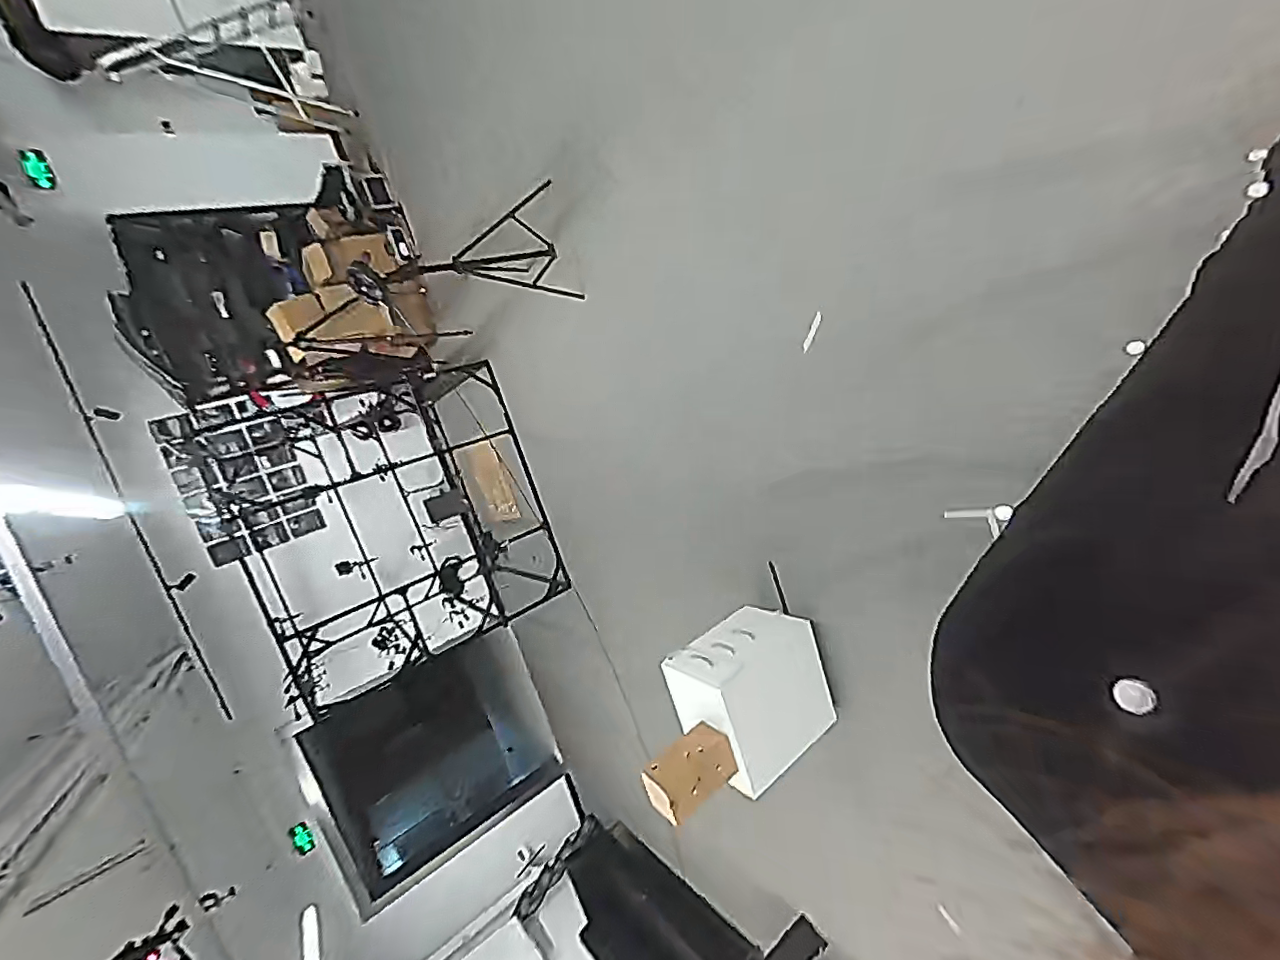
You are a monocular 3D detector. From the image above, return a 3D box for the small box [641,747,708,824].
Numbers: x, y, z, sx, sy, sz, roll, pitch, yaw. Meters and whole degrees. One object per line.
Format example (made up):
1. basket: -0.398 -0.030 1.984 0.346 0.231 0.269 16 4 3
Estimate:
1. small box: 0.135 1.177 2.102 0.179 0.176 0.168 2 113 57
